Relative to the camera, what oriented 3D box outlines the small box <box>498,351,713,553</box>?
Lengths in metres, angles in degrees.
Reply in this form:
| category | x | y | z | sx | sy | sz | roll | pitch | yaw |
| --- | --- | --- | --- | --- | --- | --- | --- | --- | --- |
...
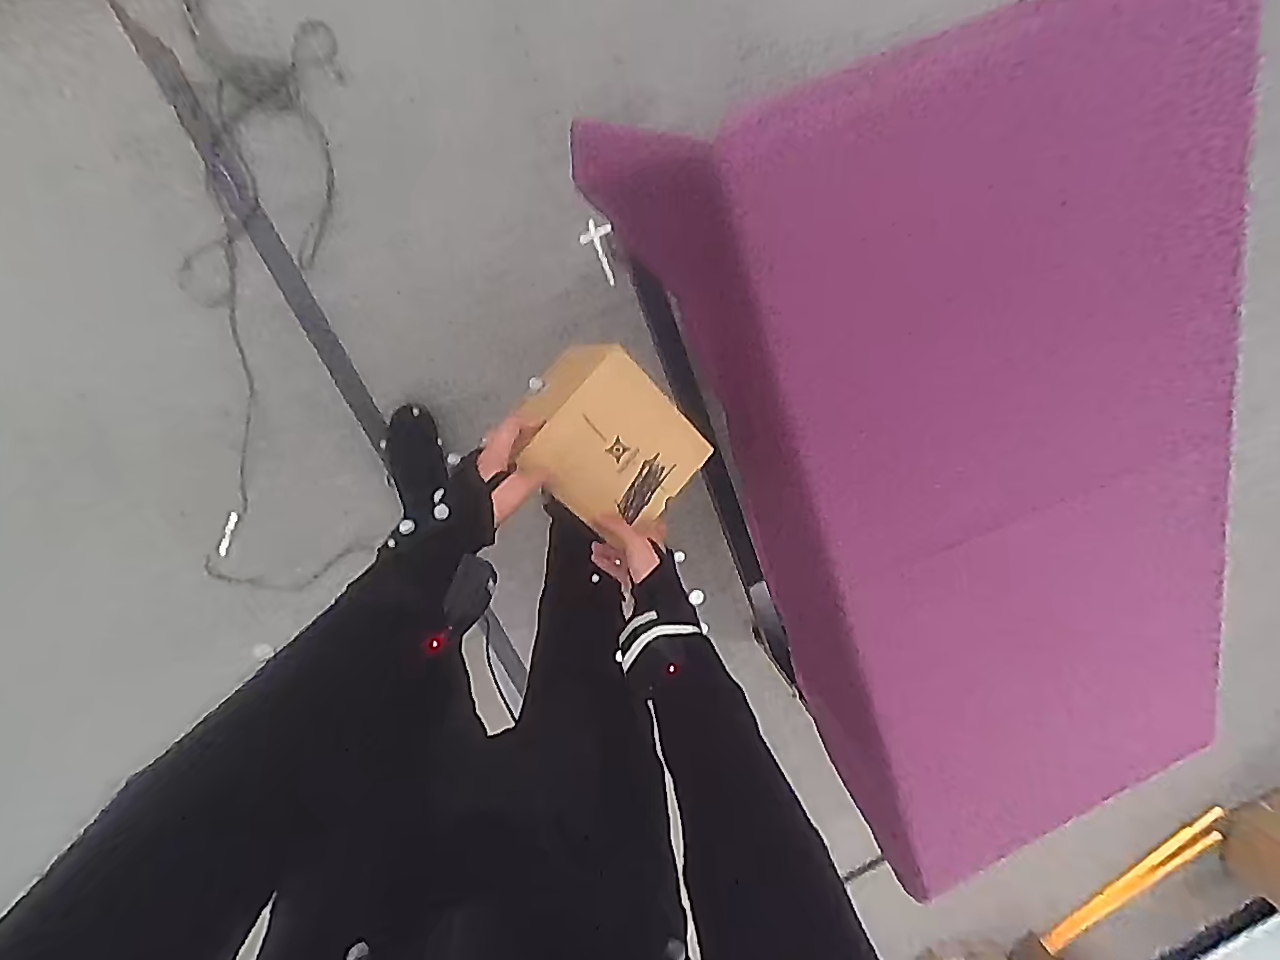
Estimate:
| category | x | y | z | sx | sy | sz | roll | pitch | yaw |
| --- | --- | --- | --- | --- | --- | --- | --- | --- | --- |
| small box | -0.049 | -0.044 | 0.669 | 0.179 | 0.176 | 0.168 | 44 | 83 | -25 |
